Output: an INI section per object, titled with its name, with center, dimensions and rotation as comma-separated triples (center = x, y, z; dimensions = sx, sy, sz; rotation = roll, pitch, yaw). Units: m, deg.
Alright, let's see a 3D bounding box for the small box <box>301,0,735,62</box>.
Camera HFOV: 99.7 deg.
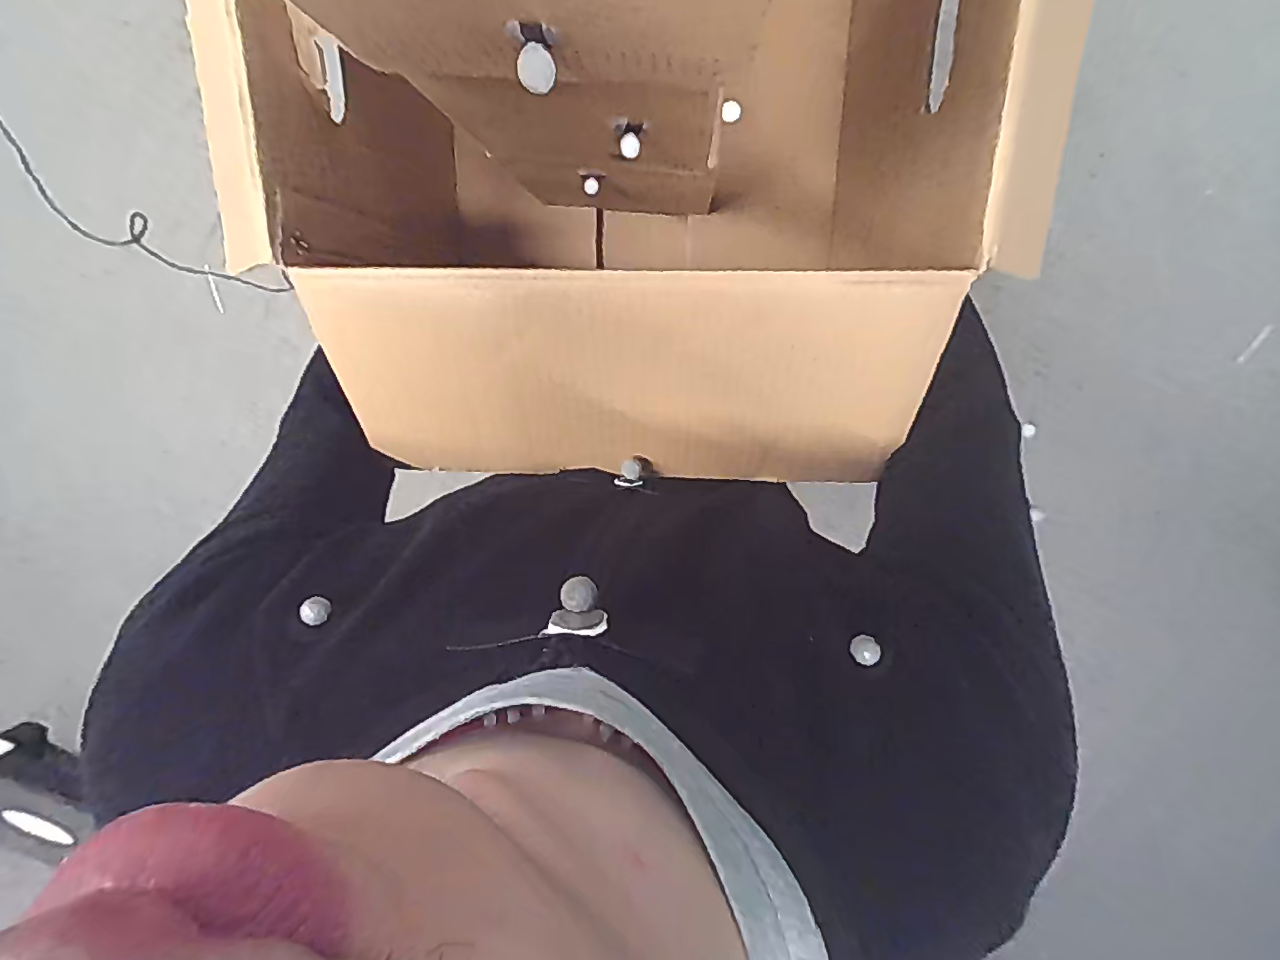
[small box]
center = -0.043, -0.239, 0.137
dimensions = 0.179, 0.176, 0.168
rotation = 4, 106, 2
